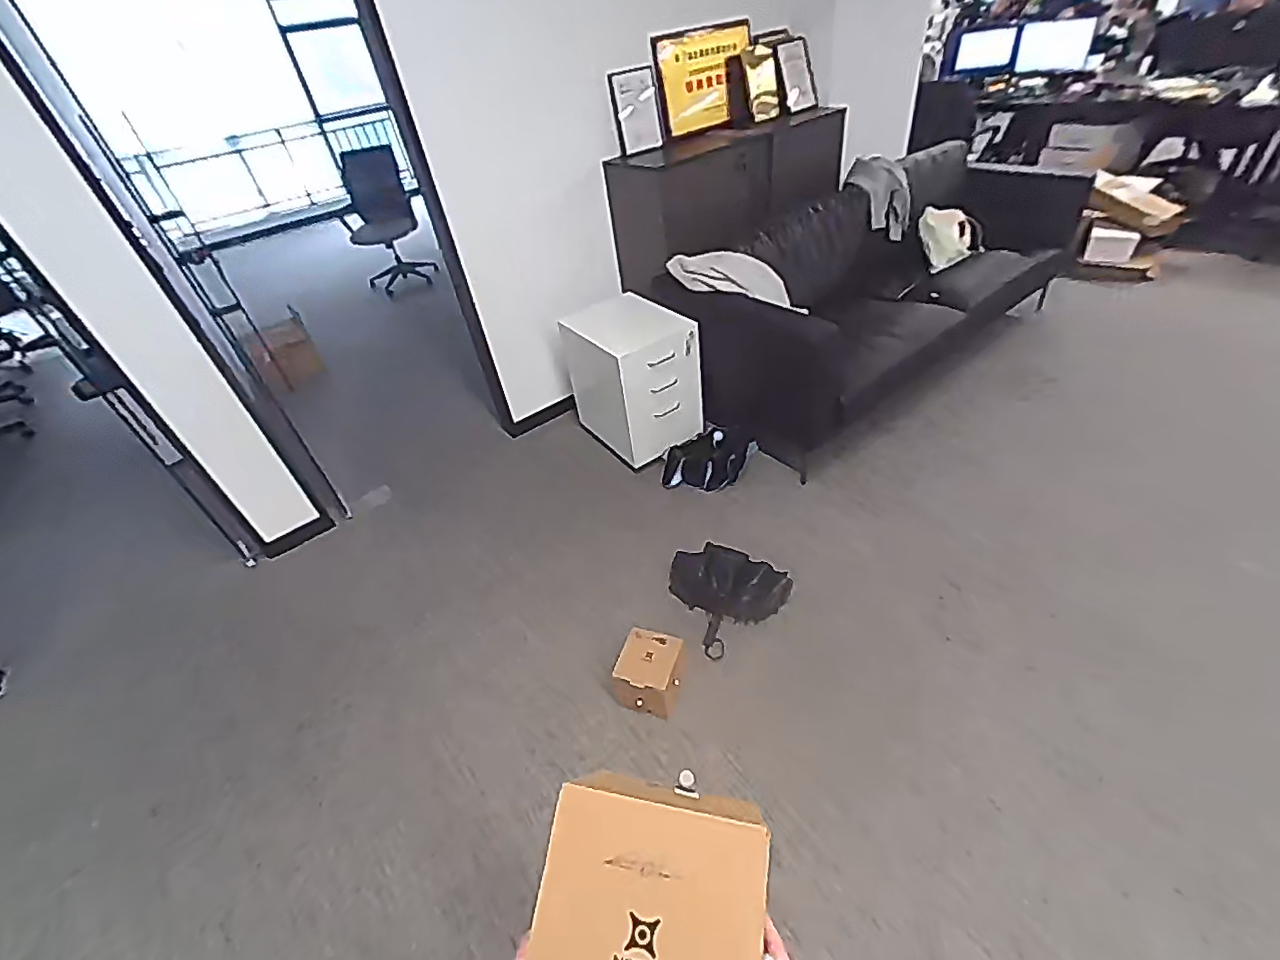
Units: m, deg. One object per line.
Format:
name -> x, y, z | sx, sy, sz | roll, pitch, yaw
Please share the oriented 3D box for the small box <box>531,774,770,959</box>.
small box -> 0.014, 0.368, 0.463 | 0.168, 0.176, 0.179 | 6, 65, 9
